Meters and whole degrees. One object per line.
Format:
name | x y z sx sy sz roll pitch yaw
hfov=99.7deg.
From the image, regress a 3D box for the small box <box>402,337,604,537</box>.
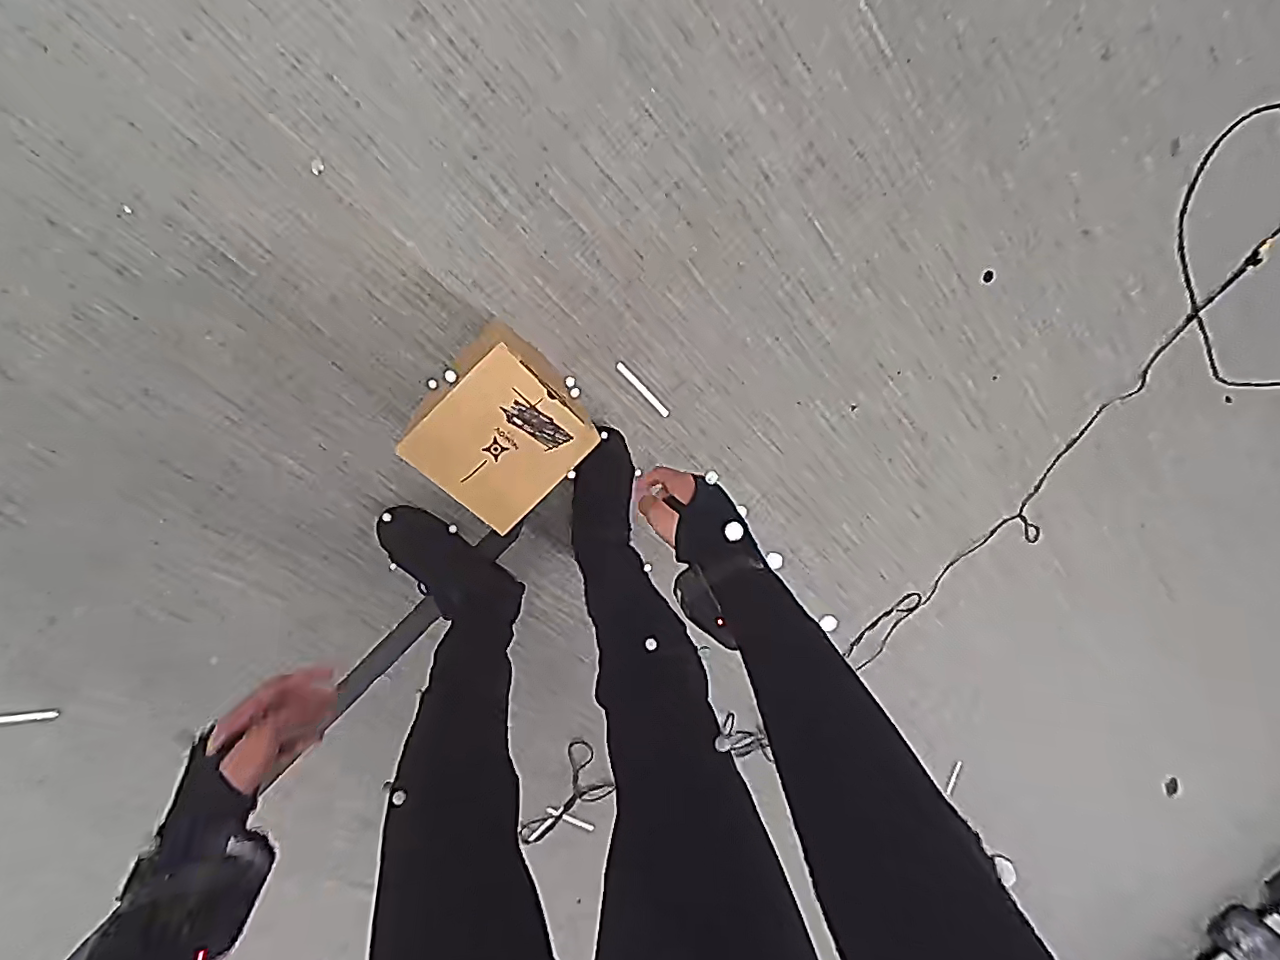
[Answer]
small box | -0.176 -0.066 0.707 0.179 0.176 0.168 -43 114 5
